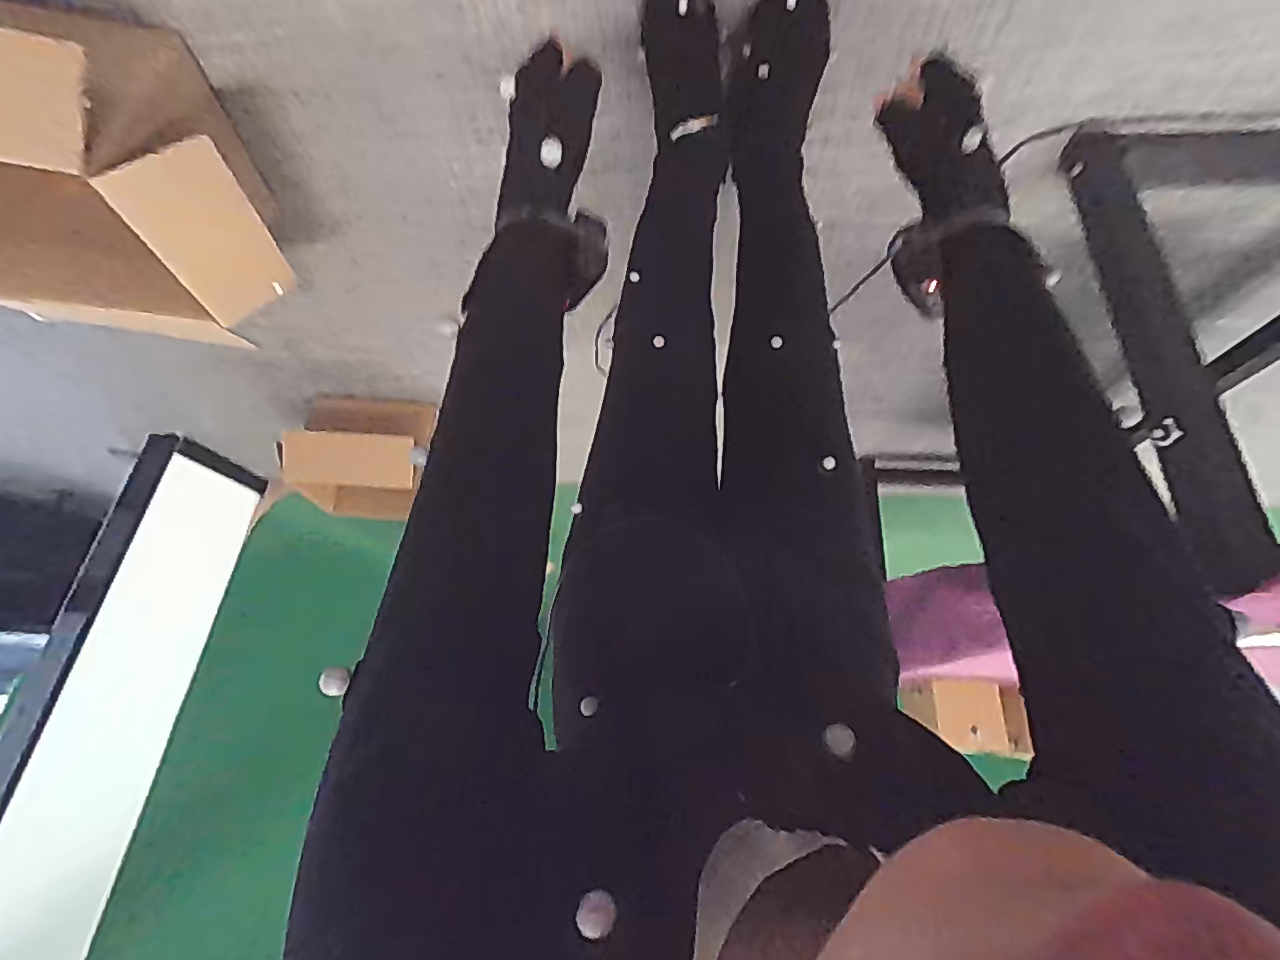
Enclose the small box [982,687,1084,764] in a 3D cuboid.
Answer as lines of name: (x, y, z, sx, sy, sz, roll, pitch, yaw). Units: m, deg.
small box: (1.035, 0.635, 1.410, 0.179, 0.176, 0.168, 4, 155, 1)
